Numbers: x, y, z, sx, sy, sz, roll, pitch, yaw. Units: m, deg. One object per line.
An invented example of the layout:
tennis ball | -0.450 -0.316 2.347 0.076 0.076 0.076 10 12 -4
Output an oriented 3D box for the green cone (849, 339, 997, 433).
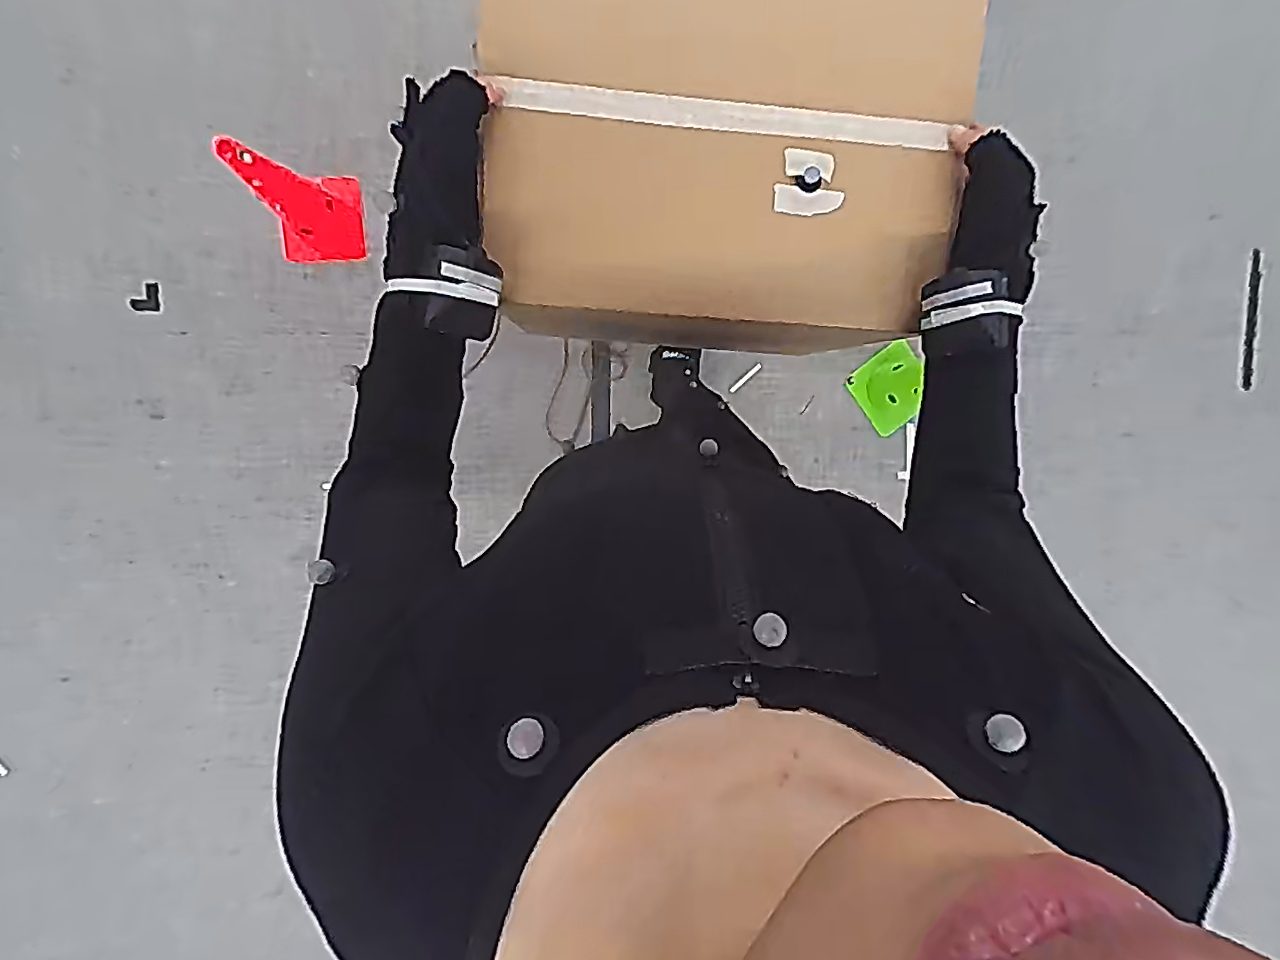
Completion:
green cone | 0.706 -0.240 1.302 0.202 0.368 0.200 -38 97 -1

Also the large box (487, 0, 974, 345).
large box | 0.061 -0.327 0.592 0.408 0.320 0.320 2 100 -6

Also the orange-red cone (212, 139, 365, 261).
orange-red cone | -0.776 -0.626 1.167 0.198 0.360 0.199 -3 97 -3
